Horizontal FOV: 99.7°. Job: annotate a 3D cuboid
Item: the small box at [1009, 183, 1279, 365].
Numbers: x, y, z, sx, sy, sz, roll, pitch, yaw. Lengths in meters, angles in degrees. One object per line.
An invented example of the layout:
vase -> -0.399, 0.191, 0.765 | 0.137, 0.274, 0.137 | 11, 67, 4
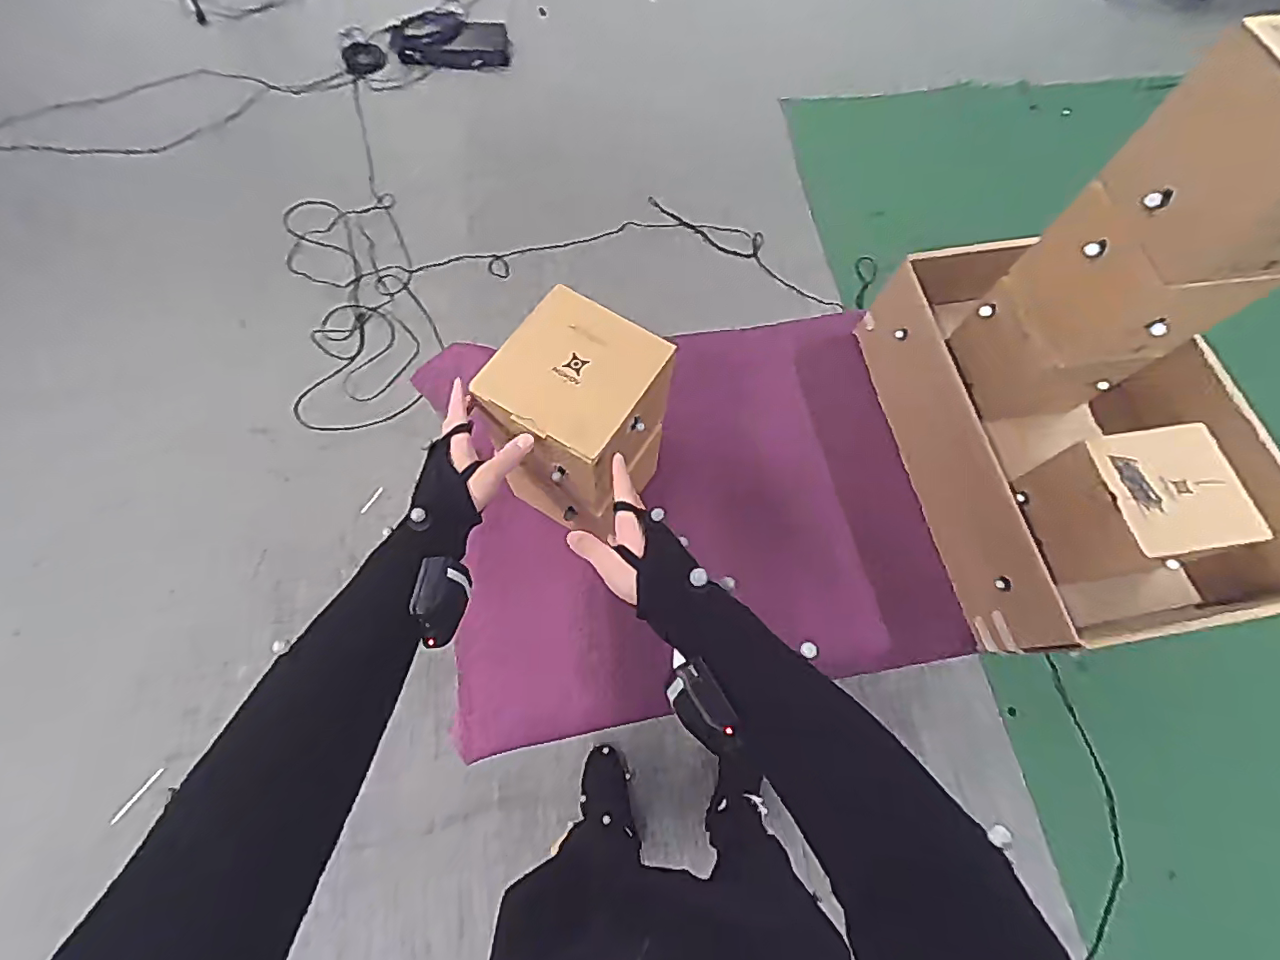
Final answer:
small box -> 0.644, -0.267, 0.717 | 0.168, 0.176, 0.179 | -7, 69, -4

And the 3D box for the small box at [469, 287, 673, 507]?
small box -> -0.076, -0.092, 0.672 | 0.168, 0.176, 0.179 | 31, 70, 9

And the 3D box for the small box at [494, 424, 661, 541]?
small box -> -0.088, -0.025, 0.821 | 0.179, 0.176, 0.168 | 31, 69, 10

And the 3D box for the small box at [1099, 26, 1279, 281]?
small box -> 0.649, -0.328, 0.564 | 0.168, 0.176, 0.179 | -7, 70, -5
